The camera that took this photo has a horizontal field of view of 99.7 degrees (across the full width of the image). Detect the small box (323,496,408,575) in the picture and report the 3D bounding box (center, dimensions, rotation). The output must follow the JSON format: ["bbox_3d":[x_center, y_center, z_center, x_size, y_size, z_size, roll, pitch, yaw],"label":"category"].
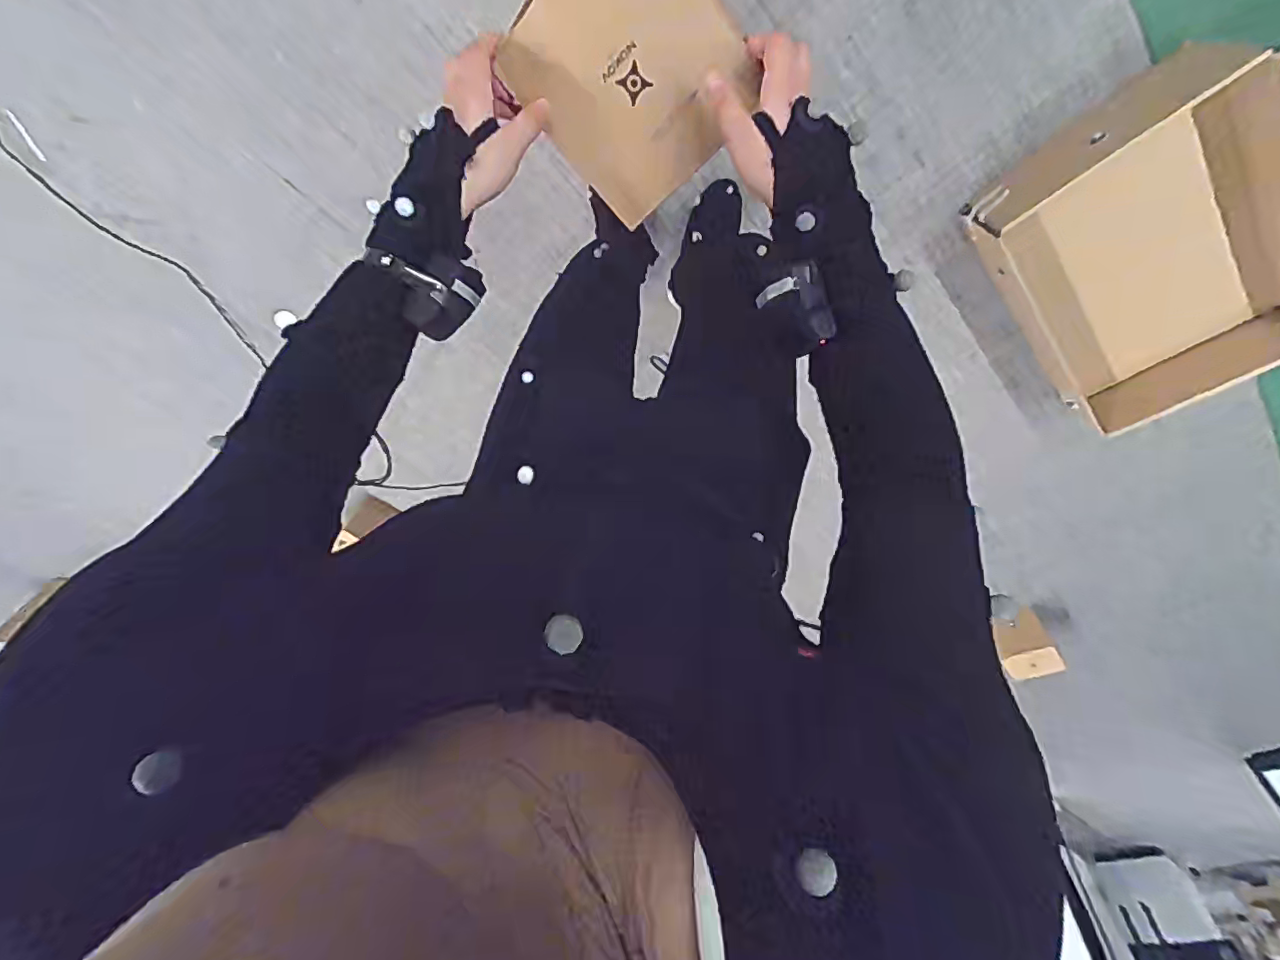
[{"bbox_3d":[-0.916,0.185,1.822,0.179,0.176,0.168,36,125,-25],"label":"small box"}]

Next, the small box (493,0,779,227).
[{"bbox_3d":[0.004,-0.378,0.488,0.168,0.176,0.179,-30,125,34],"label":"small box"}]

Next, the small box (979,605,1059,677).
[{"bbox_3d":[1.357,0.576,1.939,0.168,0.176,0.179,-29,123,27],"label":"small box"}]
